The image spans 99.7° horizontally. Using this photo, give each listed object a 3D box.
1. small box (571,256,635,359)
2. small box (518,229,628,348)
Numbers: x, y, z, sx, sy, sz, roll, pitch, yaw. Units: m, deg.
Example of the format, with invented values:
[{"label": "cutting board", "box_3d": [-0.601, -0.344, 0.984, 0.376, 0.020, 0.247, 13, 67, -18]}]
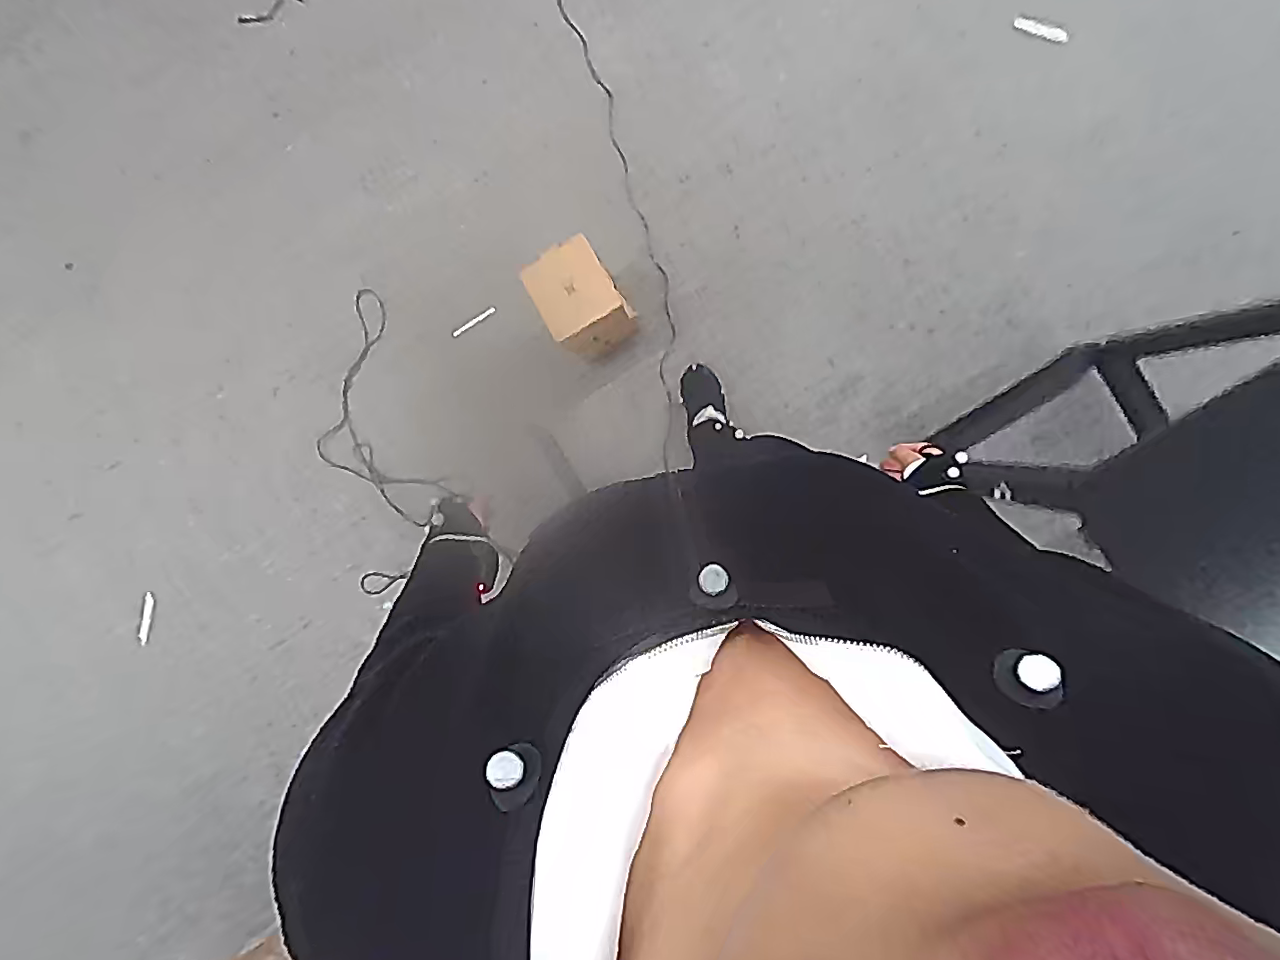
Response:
[{"label": "small box", "box_3d": [-0.124, -0.431, 1.378, 0.179, 0.176, 0.168, -33, 92, 7]}, {"label": "small box", "box_3d": [-0.143, -0.418, 1.217, 0.168, 0.176, 0.179, -30, 93, 7]}]
